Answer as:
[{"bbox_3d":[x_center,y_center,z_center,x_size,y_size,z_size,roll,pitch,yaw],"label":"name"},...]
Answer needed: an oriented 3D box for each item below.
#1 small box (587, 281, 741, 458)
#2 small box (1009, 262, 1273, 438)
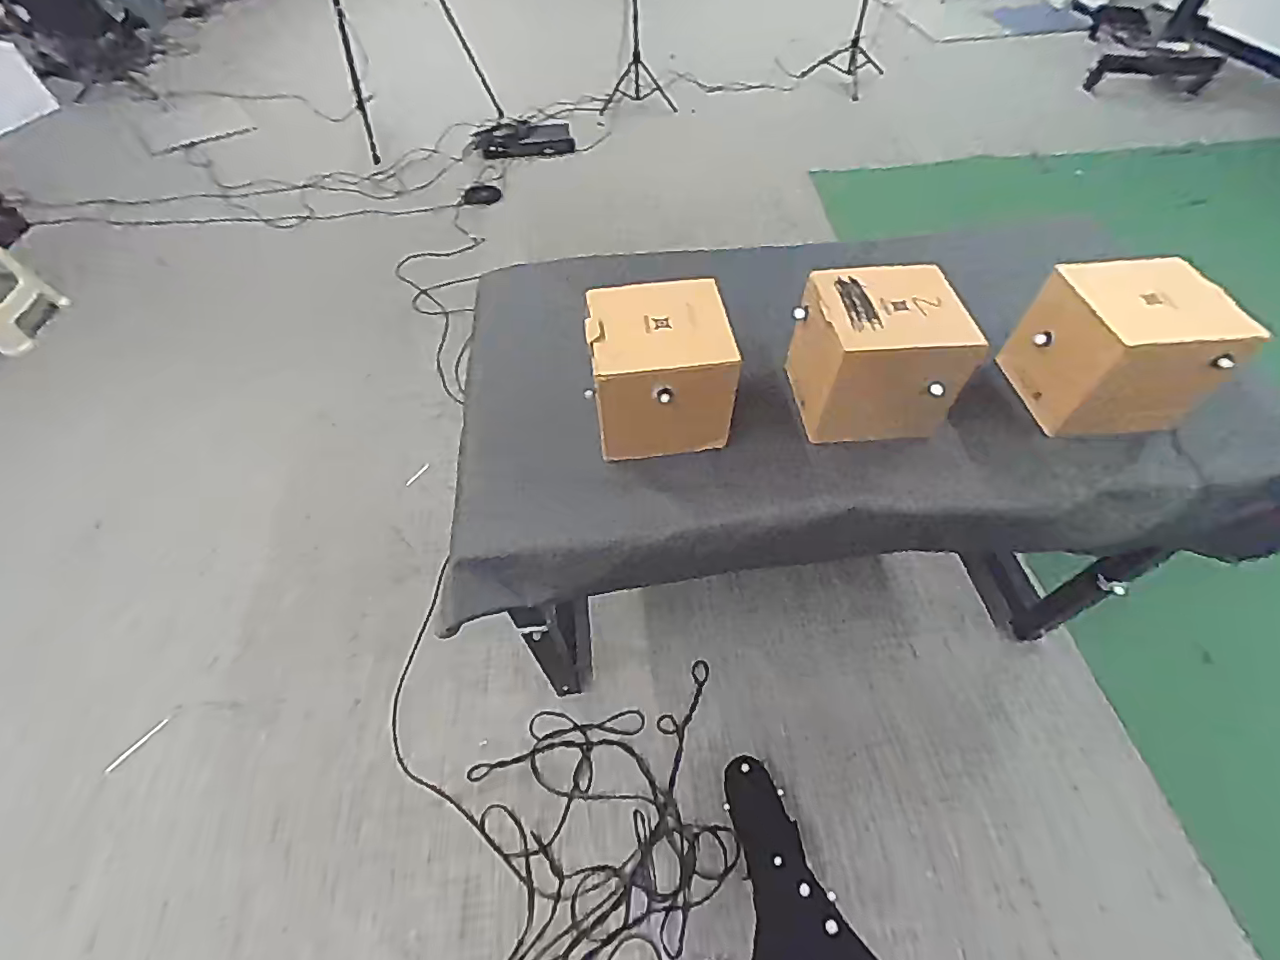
[{"bbox_3d":[0.028,-0.144,0.739,0.179,0.176,0.168,-6,55,-3],"label":"small box"},{"bbox_3d":[0.646,-0.171,0.734,0.179,0.176,0.168,-4,54,-1],"label":"small box"}]
